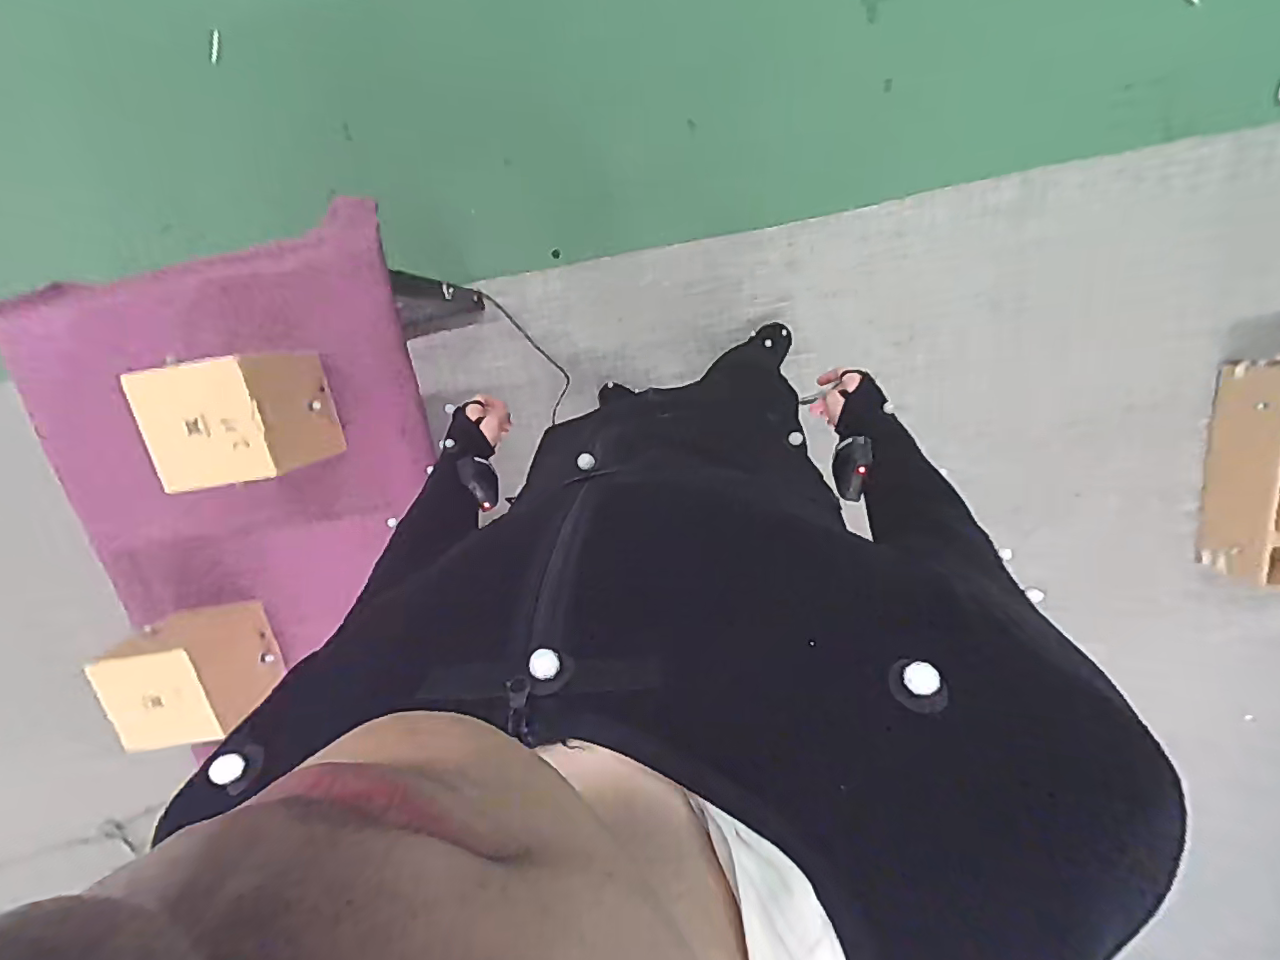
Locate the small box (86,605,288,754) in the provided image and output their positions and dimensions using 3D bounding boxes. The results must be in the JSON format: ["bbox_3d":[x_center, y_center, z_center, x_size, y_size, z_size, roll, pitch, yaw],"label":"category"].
[{"bbox_3d":[-0.758,0.333,0.925,0.179,0.176,0.168,-9,104,4],"label":"small box"}]

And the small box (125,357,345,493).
[{"bbox_3d":[-0.587,-0.088,0.808,0.179,0.176,0.168,-8,105,6],"label":"small box"}]
